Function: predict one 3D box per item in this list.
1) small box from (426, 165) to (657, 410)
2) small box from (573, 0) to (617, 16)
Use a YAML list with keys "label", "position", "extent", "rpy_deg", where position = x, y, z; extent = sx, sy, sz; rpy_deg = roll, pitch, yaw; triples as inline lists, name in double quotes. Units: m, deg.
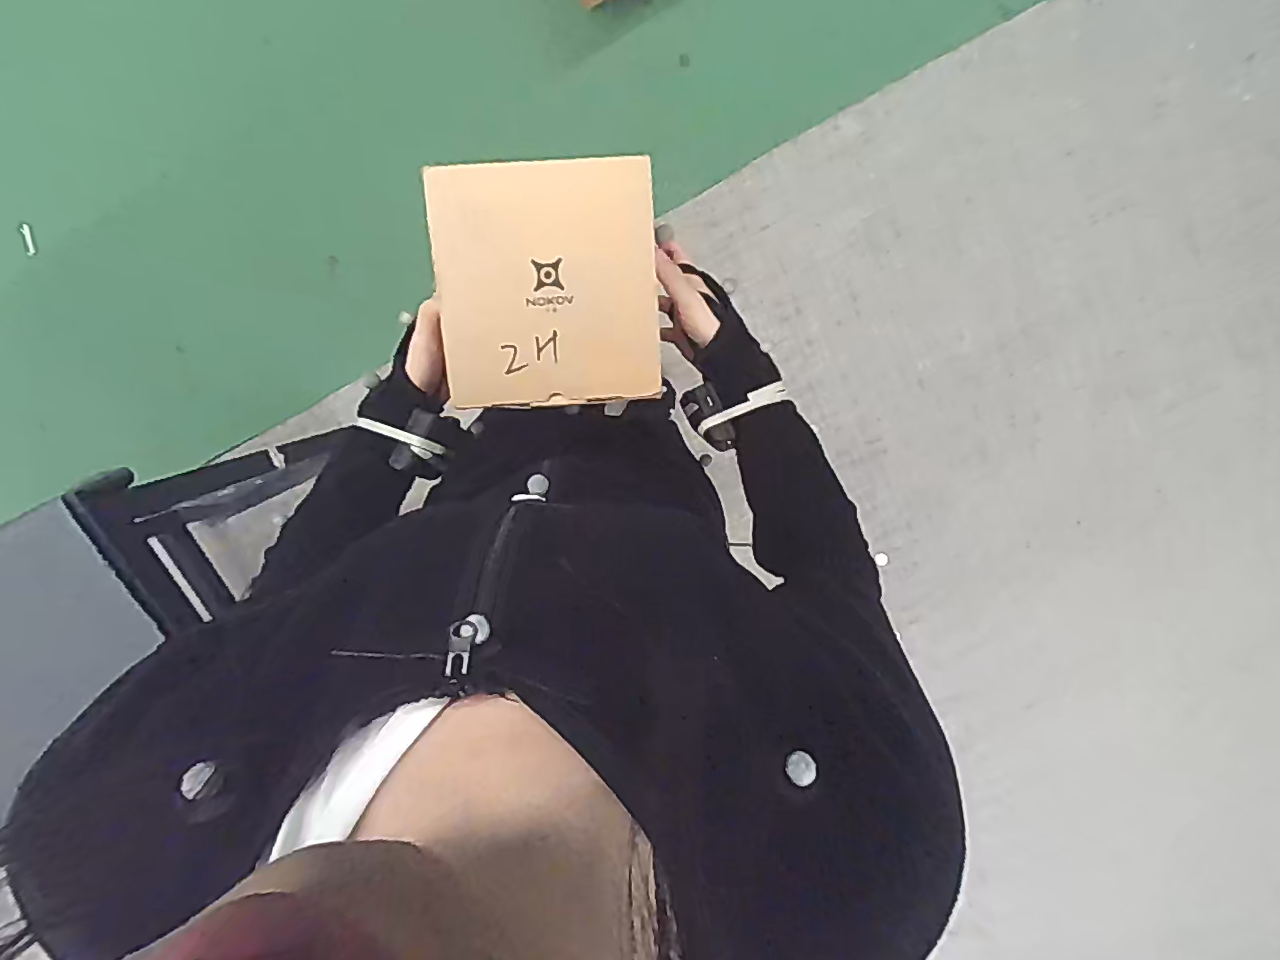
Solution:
- label: "small box"
  position: [-0.075, -0.156, 0.489]
  extent: [0.168, 0.176, 0.179]
  rpy_deg: [-4, 100, -1]
- label: "small box"
  position: [-0.098, -1.149, 1.138]
  extent: [0.168, 0.176, 0.179]
  rpy_deg: [-23, 103, 7]
